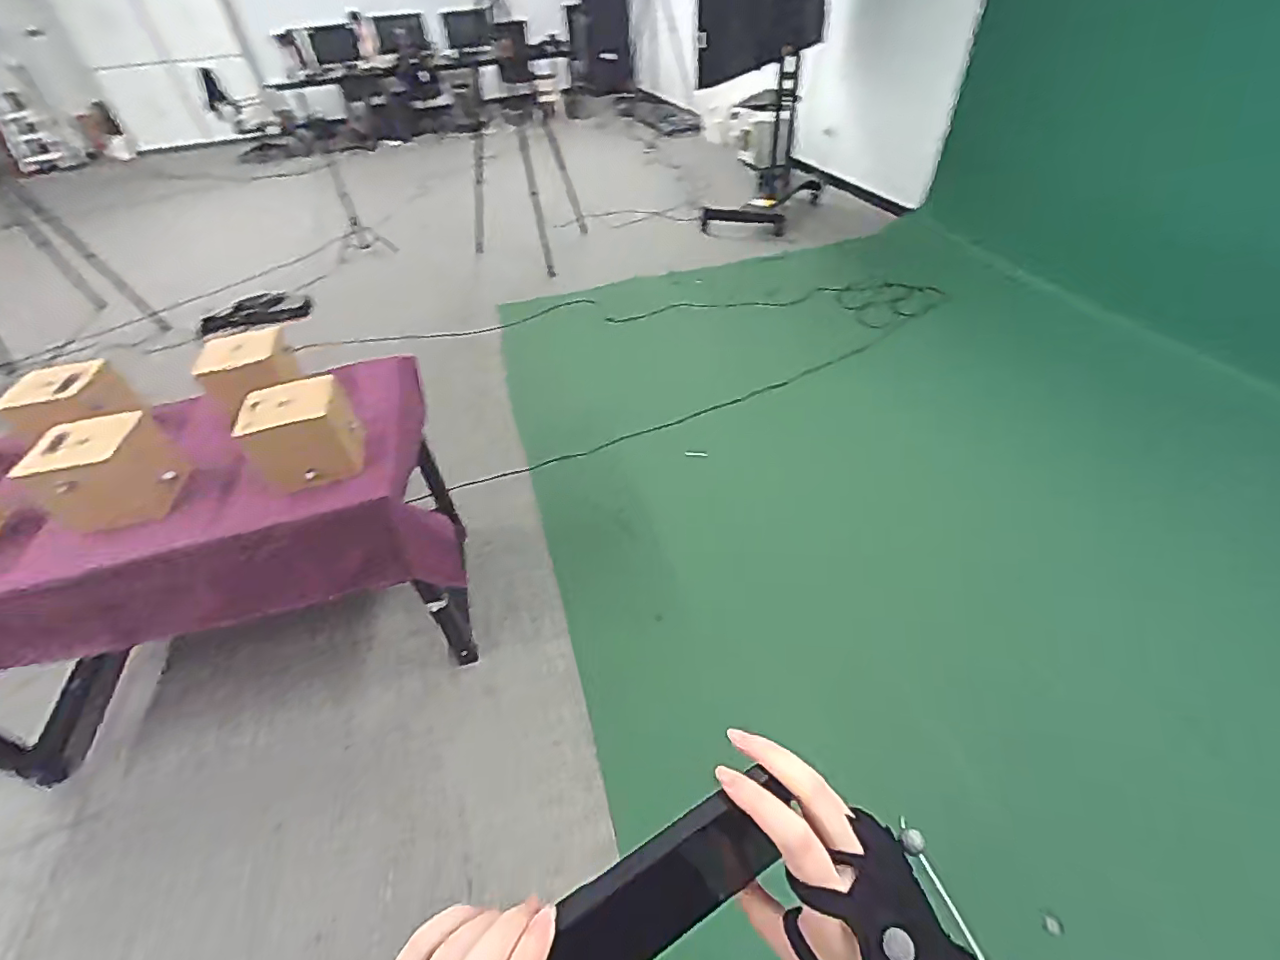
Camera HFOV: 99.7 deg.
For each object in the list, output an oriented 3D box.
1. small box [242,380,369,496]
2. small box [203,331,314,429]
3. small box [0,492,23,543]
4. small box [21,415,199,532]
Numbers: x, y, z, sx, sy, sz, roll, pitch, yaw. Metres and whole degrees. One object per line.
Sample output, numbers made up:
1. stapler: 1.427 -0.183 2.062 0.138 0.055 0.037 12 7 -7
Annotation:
1. small box: -0.714 -0.091 1.182 0.179 0.176 0.168 -15 43 -10
2. small box: -0.953 -0.251 1.374 0.168 0.176 0.179 -16 45 -10
3. small box: -1.428 0.083 1.072 0.179 0.176 0.168 -12 43 -9
4. small box: -1.094 -0.011 1.137 0.179 0.176 0.168 -11 44 -7
